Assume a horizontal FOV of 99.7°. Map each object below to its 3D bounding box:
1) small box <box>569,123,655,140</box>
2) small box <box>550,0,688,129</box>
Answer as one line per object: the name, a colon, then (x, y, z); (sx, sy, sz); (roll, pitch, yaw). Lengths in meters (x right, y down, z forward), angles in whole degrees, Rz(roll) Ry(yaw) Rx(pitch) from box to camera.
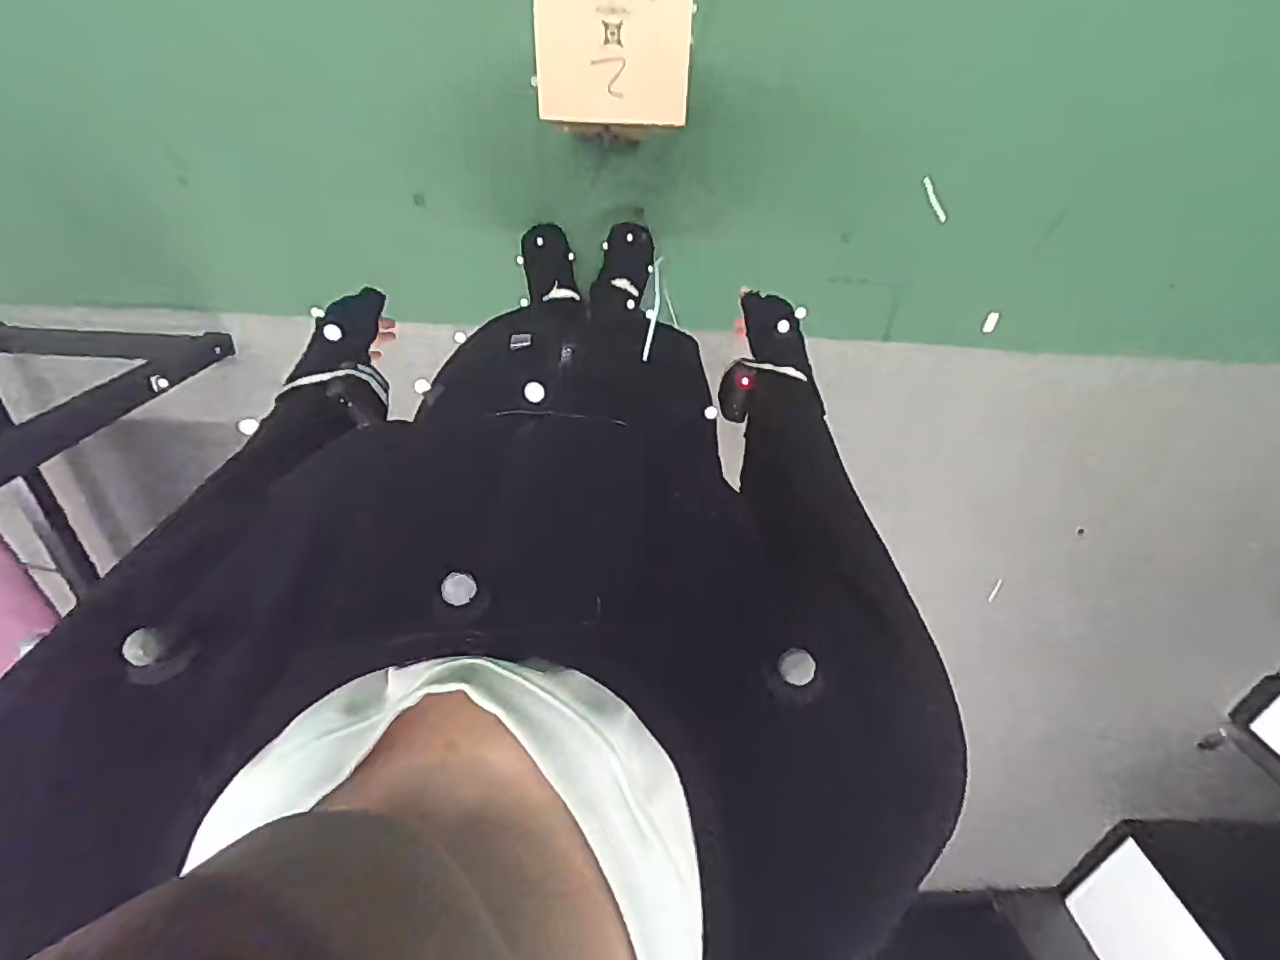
small box: (-0.050, -0.771, 1.050); (0.168, 0.176, 0.179); (2, 121, -4)
small box: (-0.032, -0.606, 0.769); (0.179, 0.176, 0.168); (1, 121, -5)
